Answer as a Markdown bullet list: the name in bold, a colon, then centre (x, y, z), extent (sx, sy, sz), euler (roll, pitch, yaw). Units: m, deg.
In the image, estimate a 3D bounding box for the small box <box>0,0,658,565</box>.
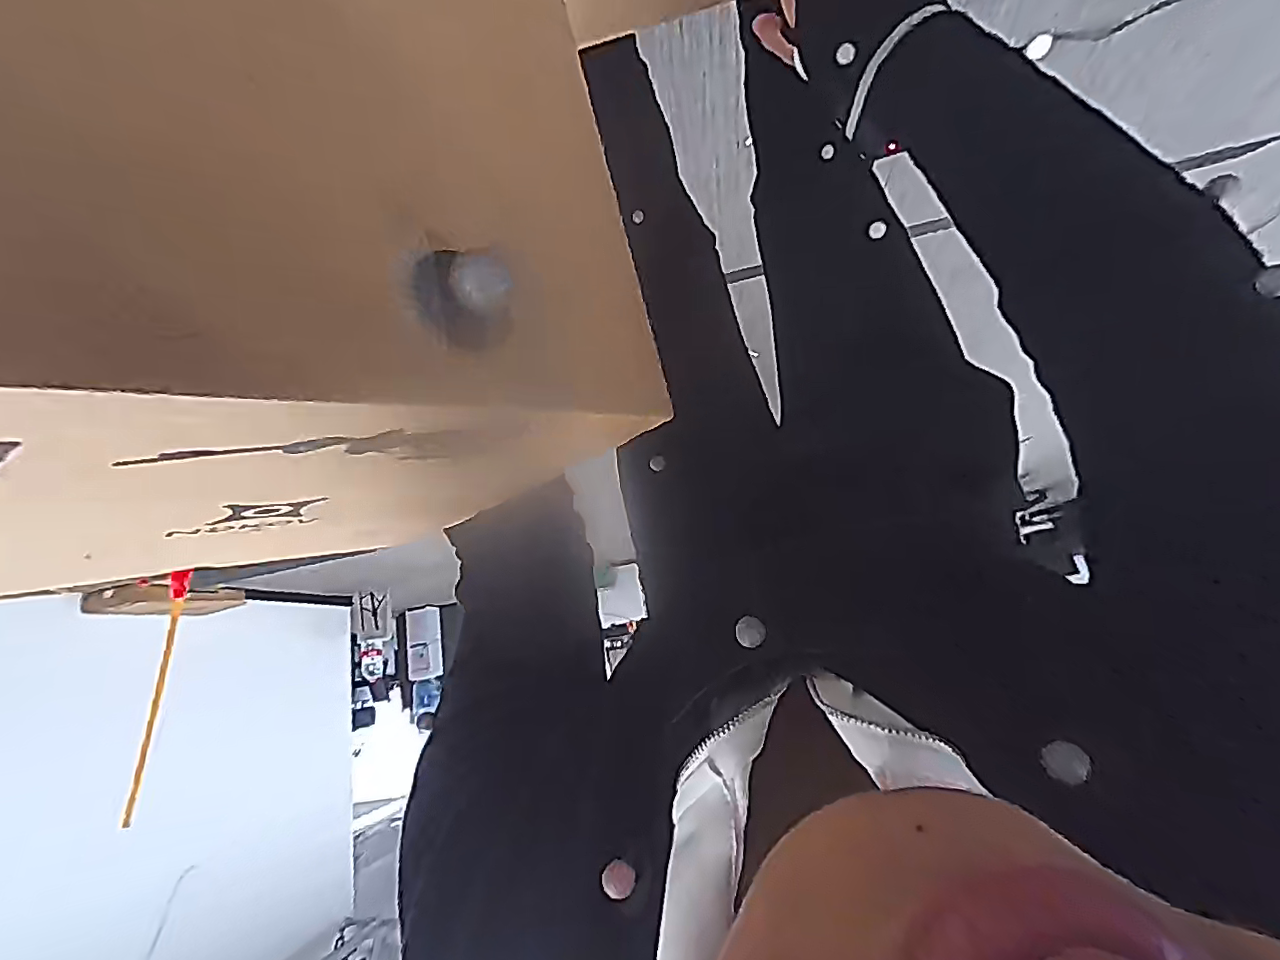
- **small box**: centre (-0.124, -0.077, 0.160), extent (0.179, 0.176, 0.168), euler (-19, 172, 40)
